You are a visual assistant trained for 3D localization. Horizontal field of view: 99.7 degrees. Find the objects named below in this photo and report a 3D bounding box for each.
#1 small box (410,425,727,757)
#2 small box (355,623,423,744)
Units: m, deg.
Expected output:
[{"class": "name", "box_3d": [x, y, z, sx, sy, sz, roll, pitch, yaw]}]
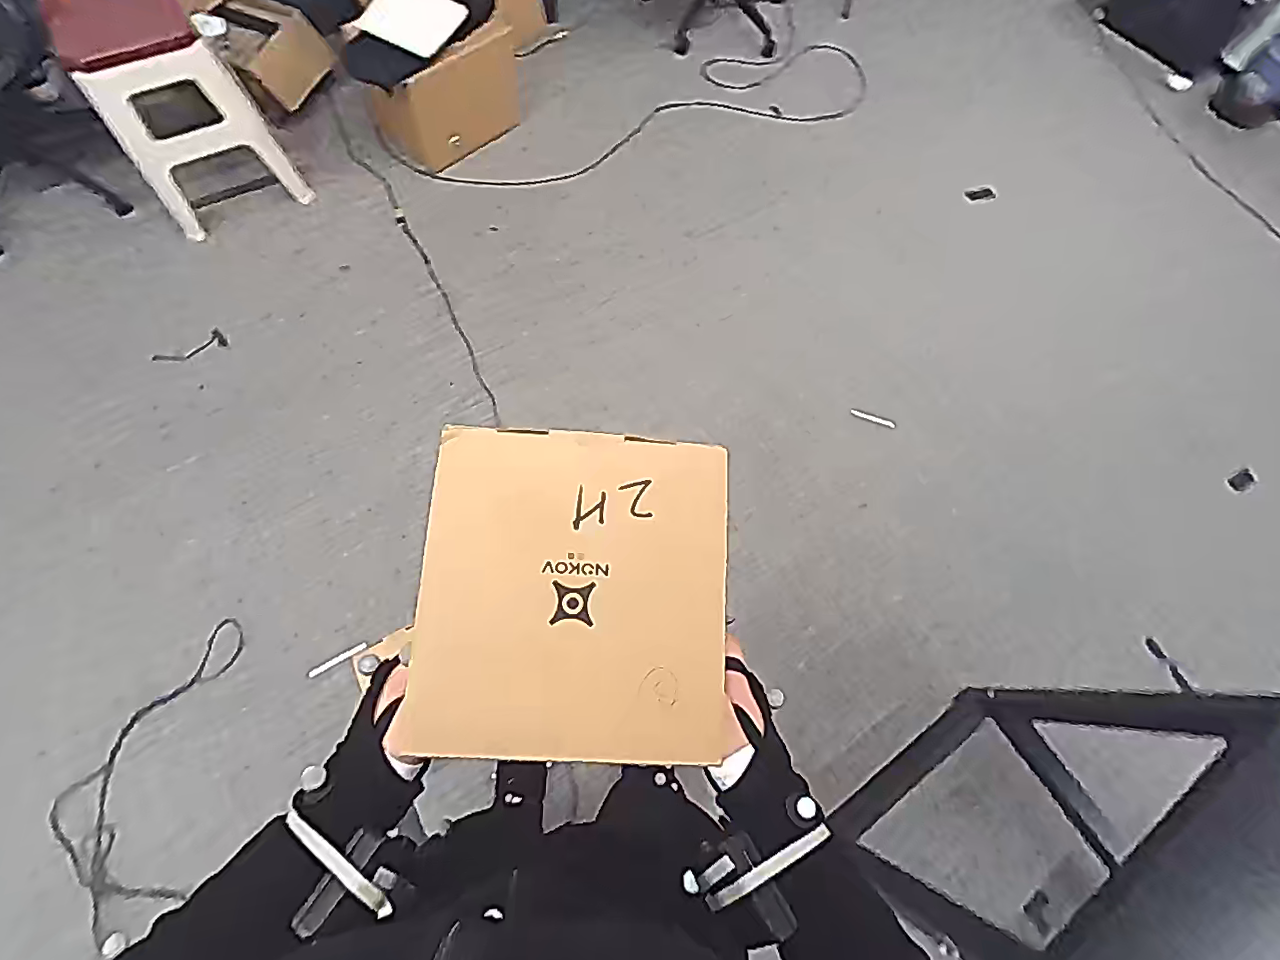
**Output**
[{"class": "small box", "box_3d": [-0.040, 0.075, 0.377, 0.168, 0.176, 0.179, 3, 76, -5]}, {"class": "small box", "box_3d": [-0.430, 0.395, 1.075, 0.168, 0.176, 0.179, -24, 75, -13]}]
